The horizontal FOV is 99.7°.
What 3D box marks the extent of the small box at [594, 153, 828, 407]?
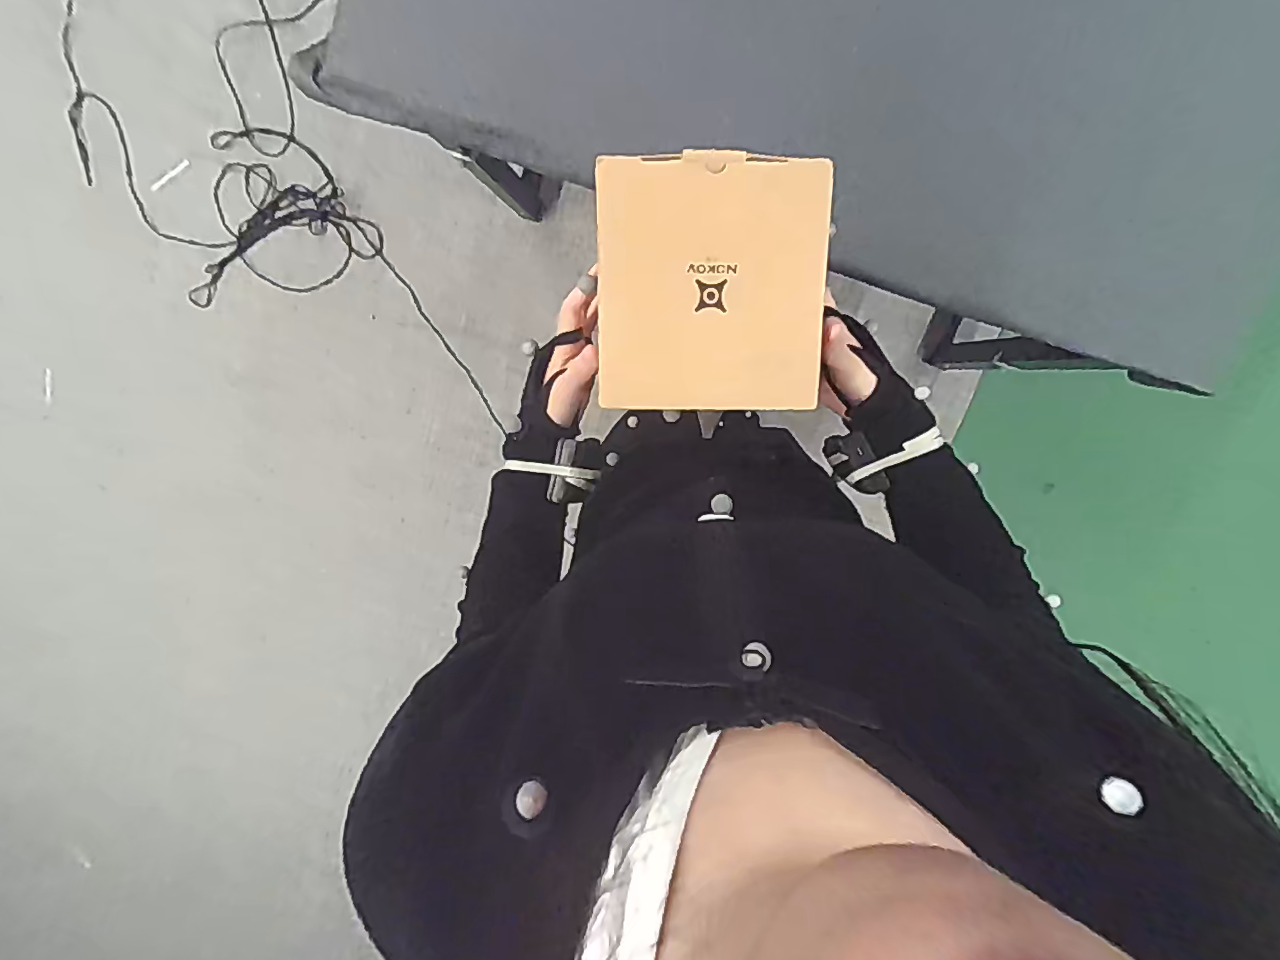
[{"bbox_3d":[0.049,-0.157,0.471,0.168,0.176,0.179,0,100,0],"label":"small box"}]
